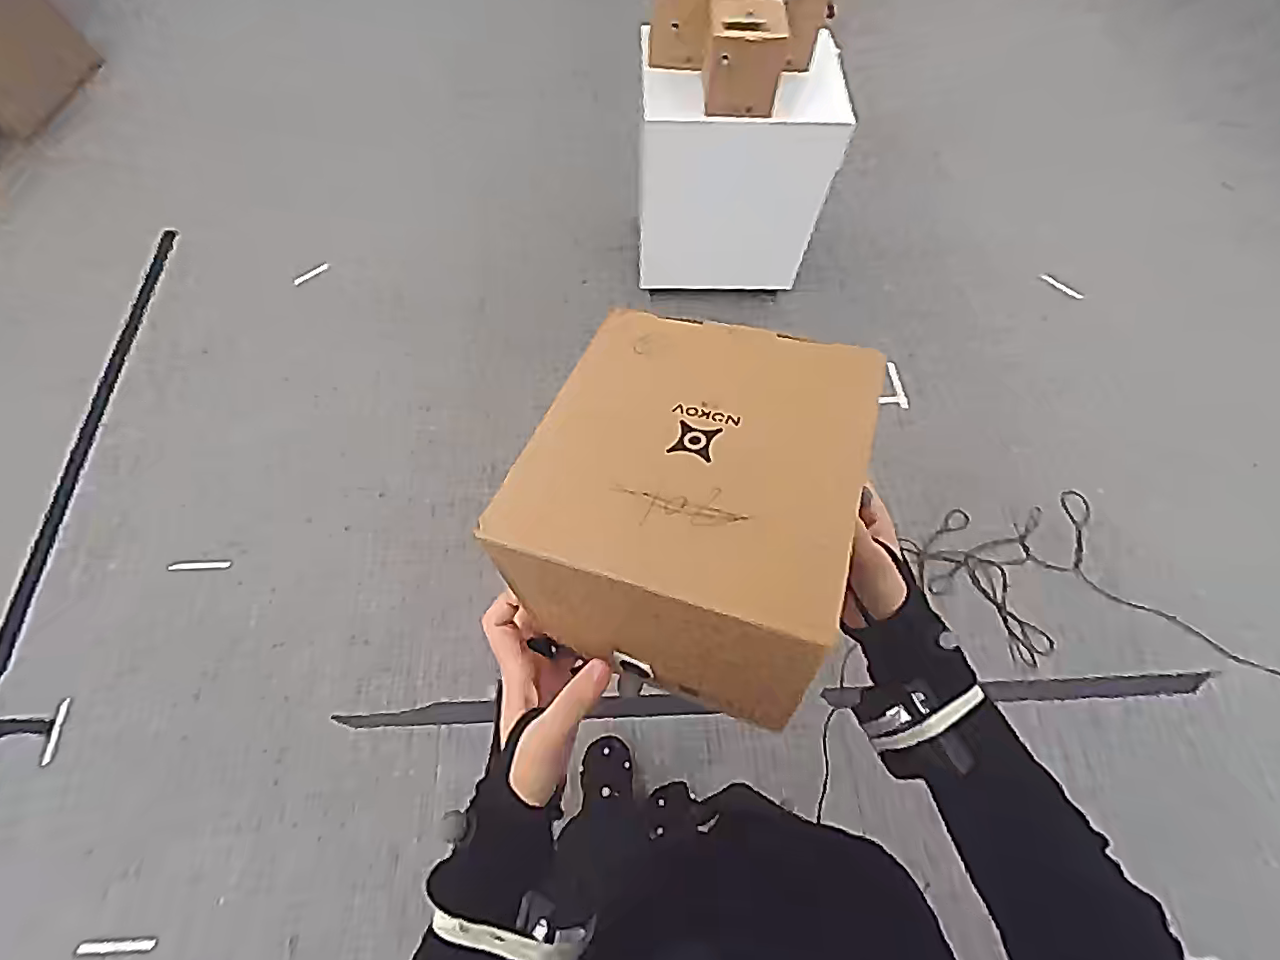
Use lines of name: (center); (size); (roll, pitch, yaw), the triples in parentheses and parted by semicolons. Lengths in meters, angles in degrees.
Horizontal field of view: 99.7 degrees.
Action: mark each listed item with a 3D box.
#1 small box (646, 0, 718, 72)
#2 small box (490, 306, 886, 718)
small box: (0.102, -1.150, 1.338); (0.168, 0.176, 0.179); (3, 66, -1)
small box: (0.038, 0.024, 0.341); (0.168, 0.176, 0.179); (13, 59, 15)
